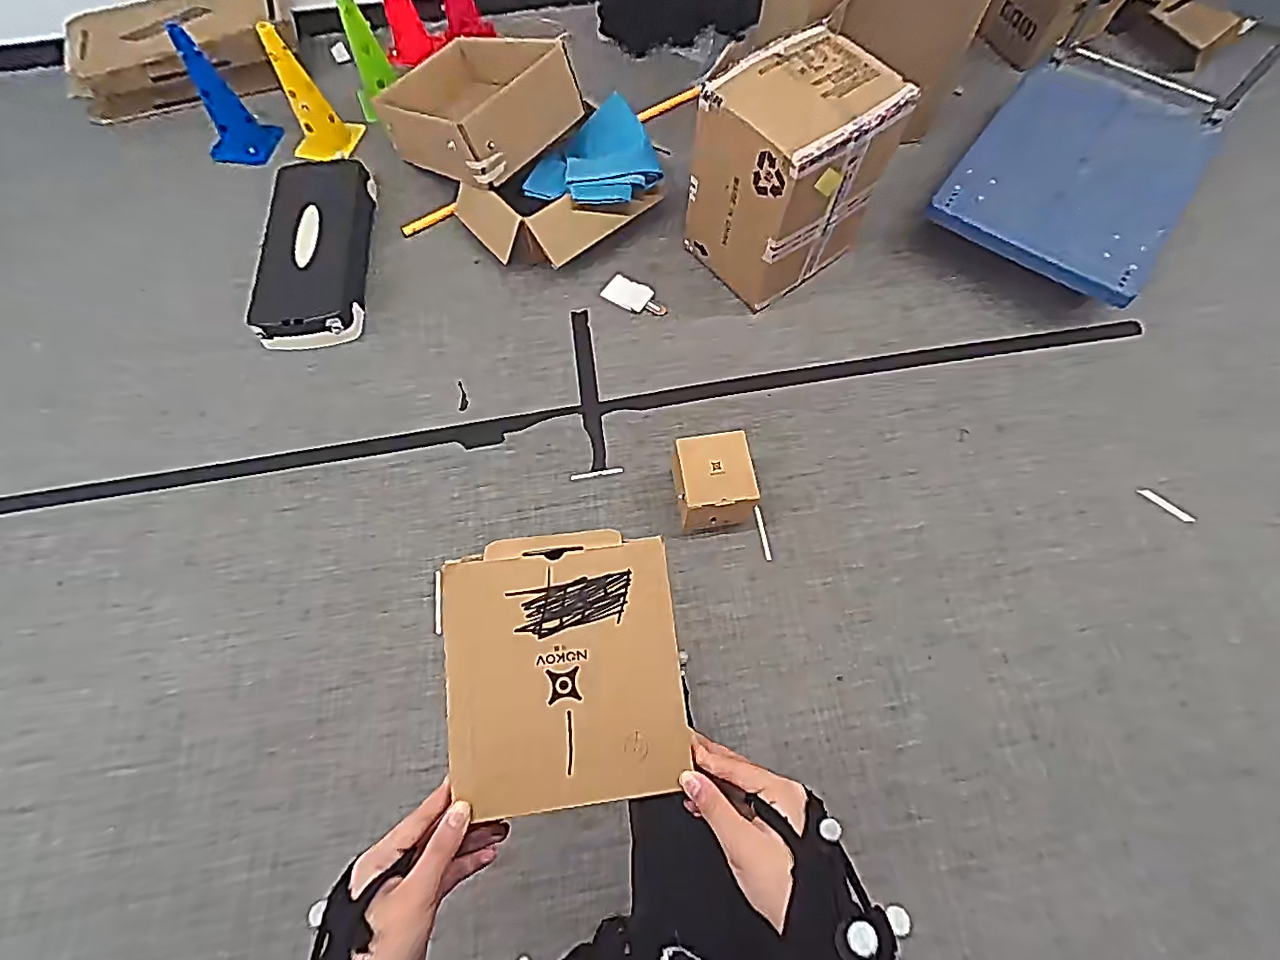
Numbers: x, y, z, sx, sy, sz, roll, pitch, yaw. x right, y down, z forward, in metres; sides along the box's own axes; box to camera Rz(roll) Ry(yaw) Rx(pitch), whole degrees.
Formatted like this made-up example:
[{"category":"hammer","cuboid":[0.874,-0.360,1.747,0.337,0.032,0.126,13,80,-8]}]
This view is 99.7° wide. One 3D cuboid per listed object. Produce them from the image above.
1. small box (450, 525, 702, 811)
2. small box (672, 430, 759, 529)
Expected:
[{"category":"small box","cuboid":[-0.053,0.145,0.455,0.168,0.176,0.179,-6,76,-4]},{"category":"small box","cuboid":[0.173,0.002,1.302,0.168,0.176,0.179,-8,68,-3]}]
